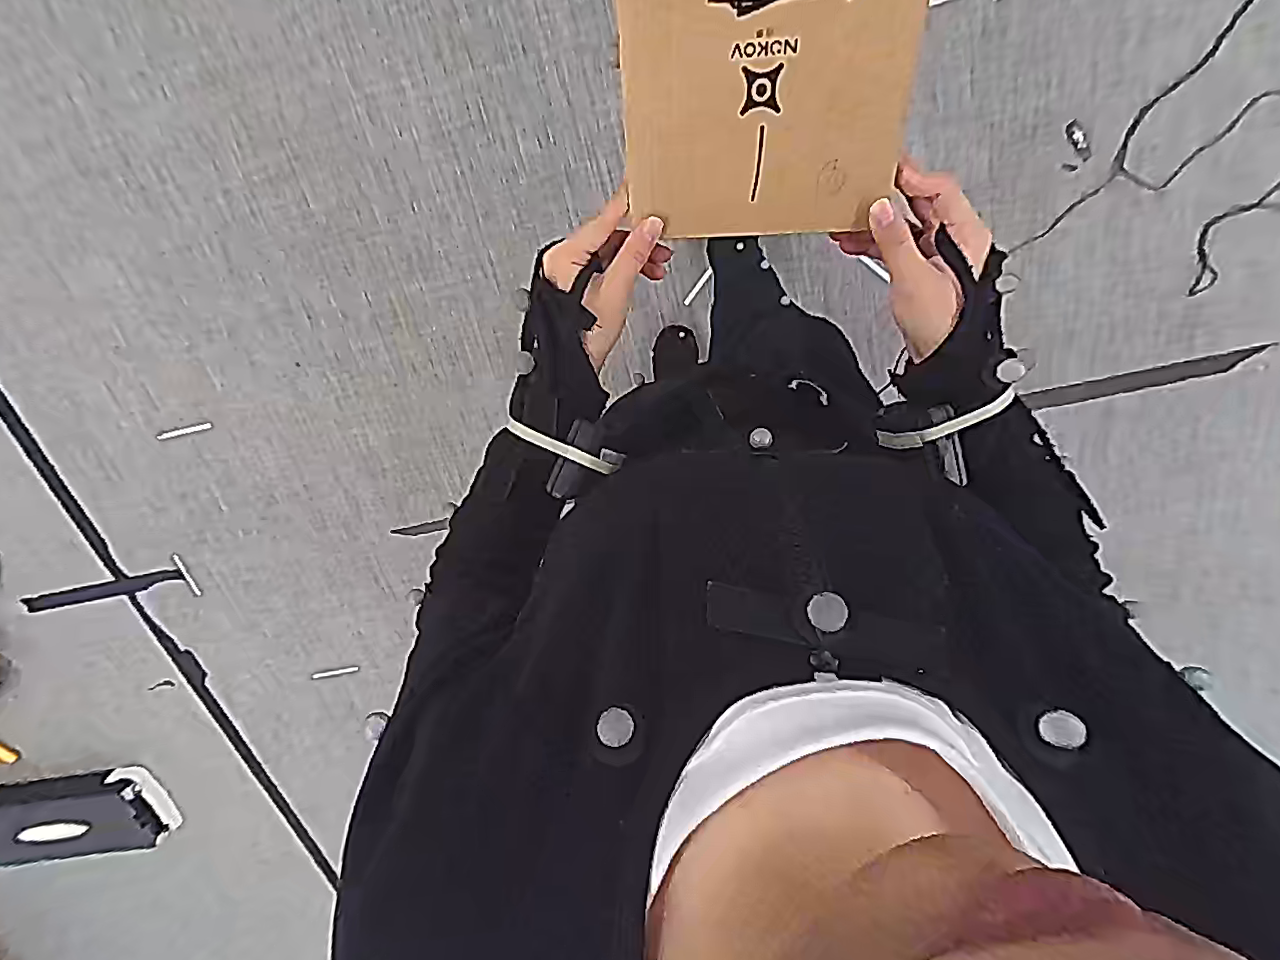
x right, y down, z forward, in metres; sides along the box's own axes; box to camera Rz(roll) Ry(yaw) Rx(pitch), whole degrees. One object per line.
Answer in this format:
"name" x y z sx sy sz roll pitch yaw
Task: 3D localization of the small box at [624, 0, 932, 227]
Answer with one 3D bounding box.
"small box" 0.079 -0.284 0.364 0.168 0.176 0.179 1 128 7
